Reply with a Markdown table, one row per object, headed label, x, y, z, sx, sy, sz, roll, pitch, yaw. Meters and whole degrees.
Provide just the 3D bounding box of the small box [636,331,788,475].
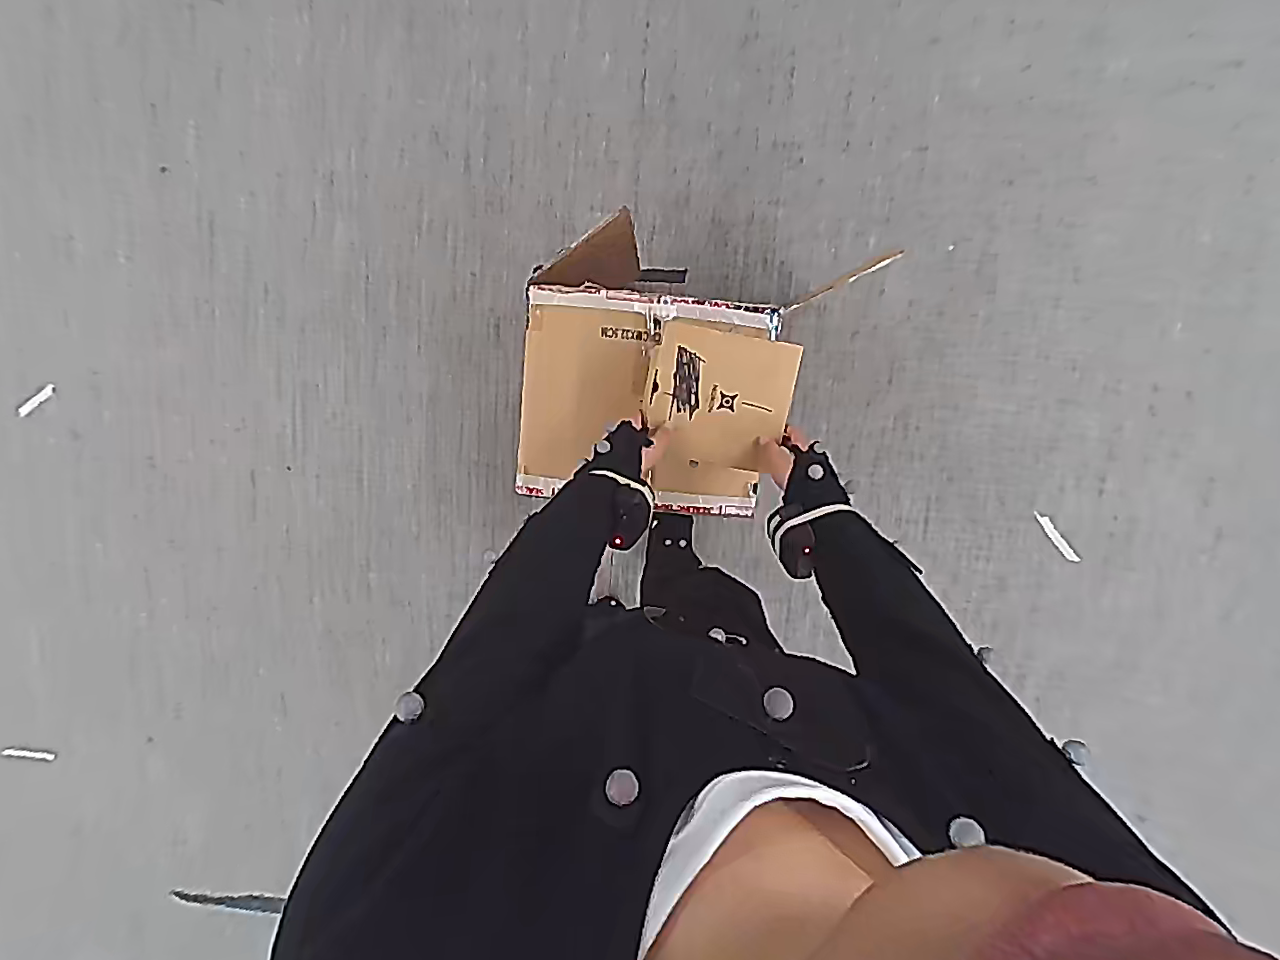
| label | x | y | z | sx | sy | sz | roll | pitch | yaw |
| --- | --- | --- | --- | --- | --- | --- | --- | --- | --- |
| small box | 0.092 | -0.106 | 0.767 | 0.179 | 0.176 | 0.168 | 7 | 97 | -1 |
